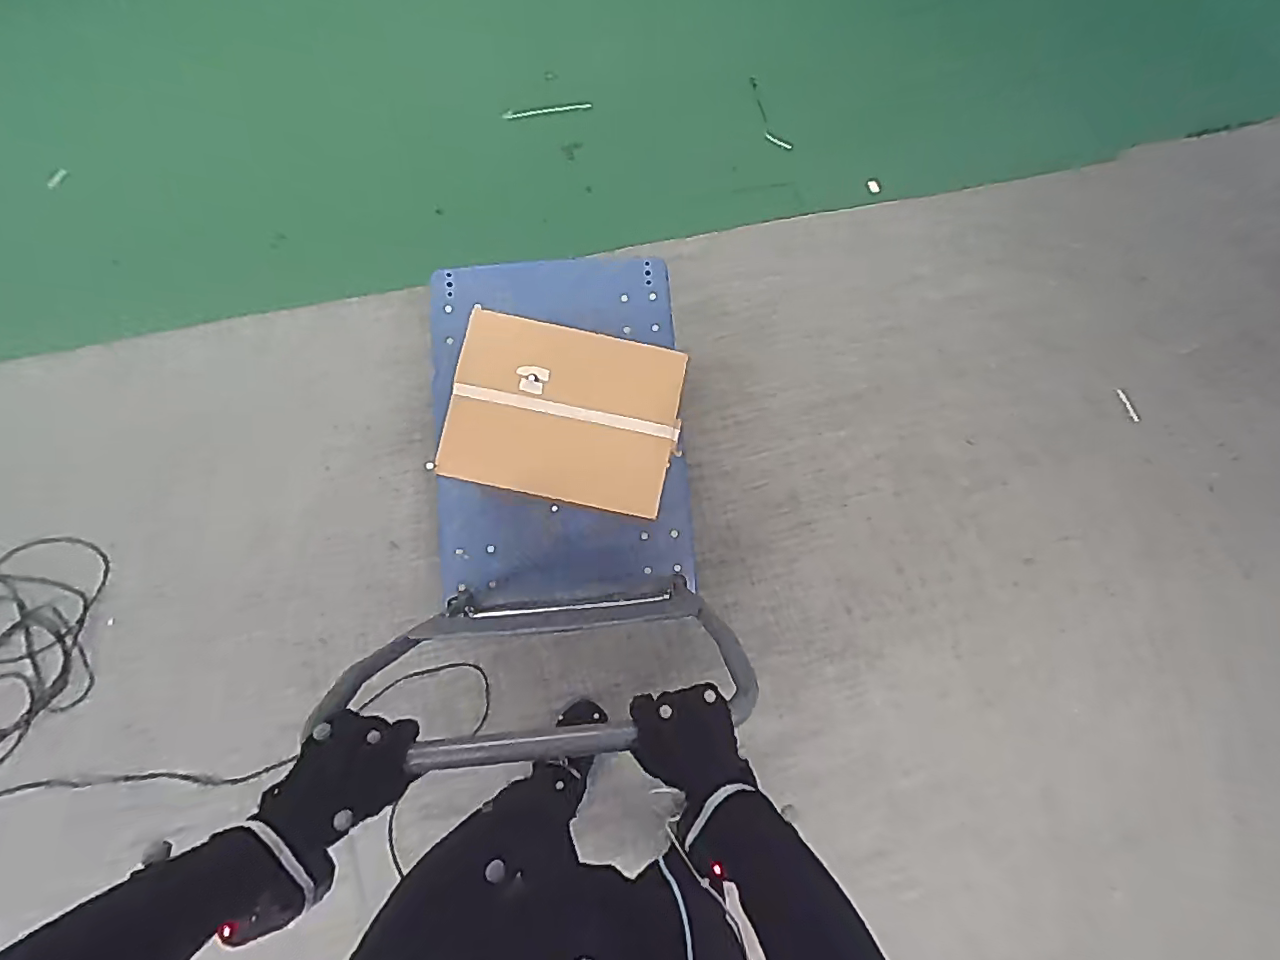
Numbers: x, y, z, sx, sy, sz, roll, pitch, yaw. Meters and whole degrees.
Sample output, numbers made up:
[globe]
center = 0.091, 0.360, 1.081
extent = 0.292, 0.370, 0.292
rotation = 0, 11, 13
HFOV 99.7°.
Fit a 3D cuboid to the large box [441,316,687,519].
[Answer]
[large box]
center = -0.133, -0.103, 1.118
extent = 0.408, 0.320, 0.320
rotation = 11, 83, 0
